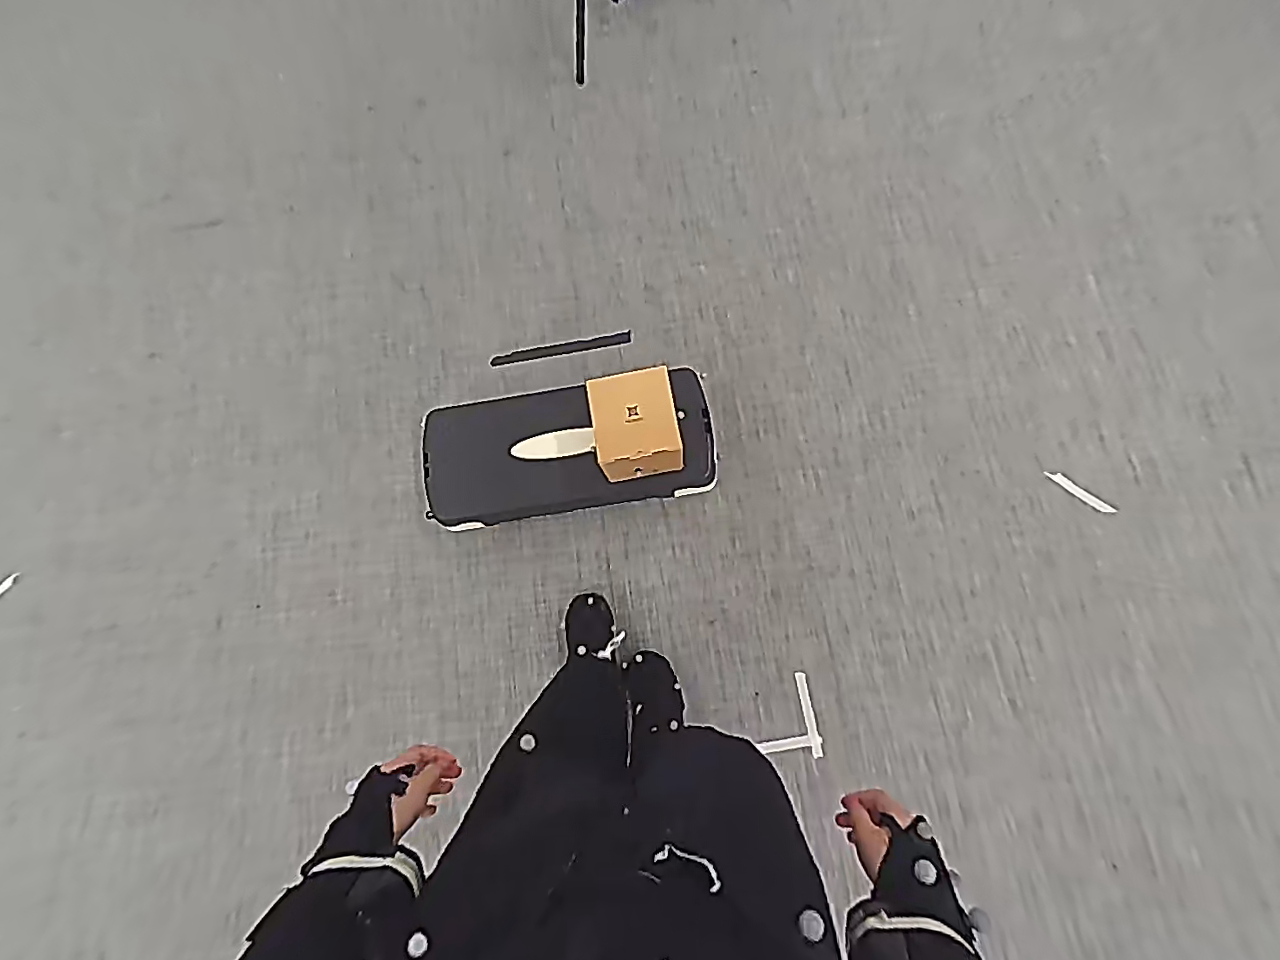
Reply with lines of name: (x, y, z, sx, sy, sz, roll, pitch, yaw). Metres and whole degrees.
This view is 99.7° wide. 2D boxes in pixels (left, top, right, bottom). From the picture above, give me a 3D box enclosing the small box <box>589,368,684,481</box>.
small box: (-0.006, -0.109, 1.132, 0.168, 0.176, 0.179, -11, 78, 1)
